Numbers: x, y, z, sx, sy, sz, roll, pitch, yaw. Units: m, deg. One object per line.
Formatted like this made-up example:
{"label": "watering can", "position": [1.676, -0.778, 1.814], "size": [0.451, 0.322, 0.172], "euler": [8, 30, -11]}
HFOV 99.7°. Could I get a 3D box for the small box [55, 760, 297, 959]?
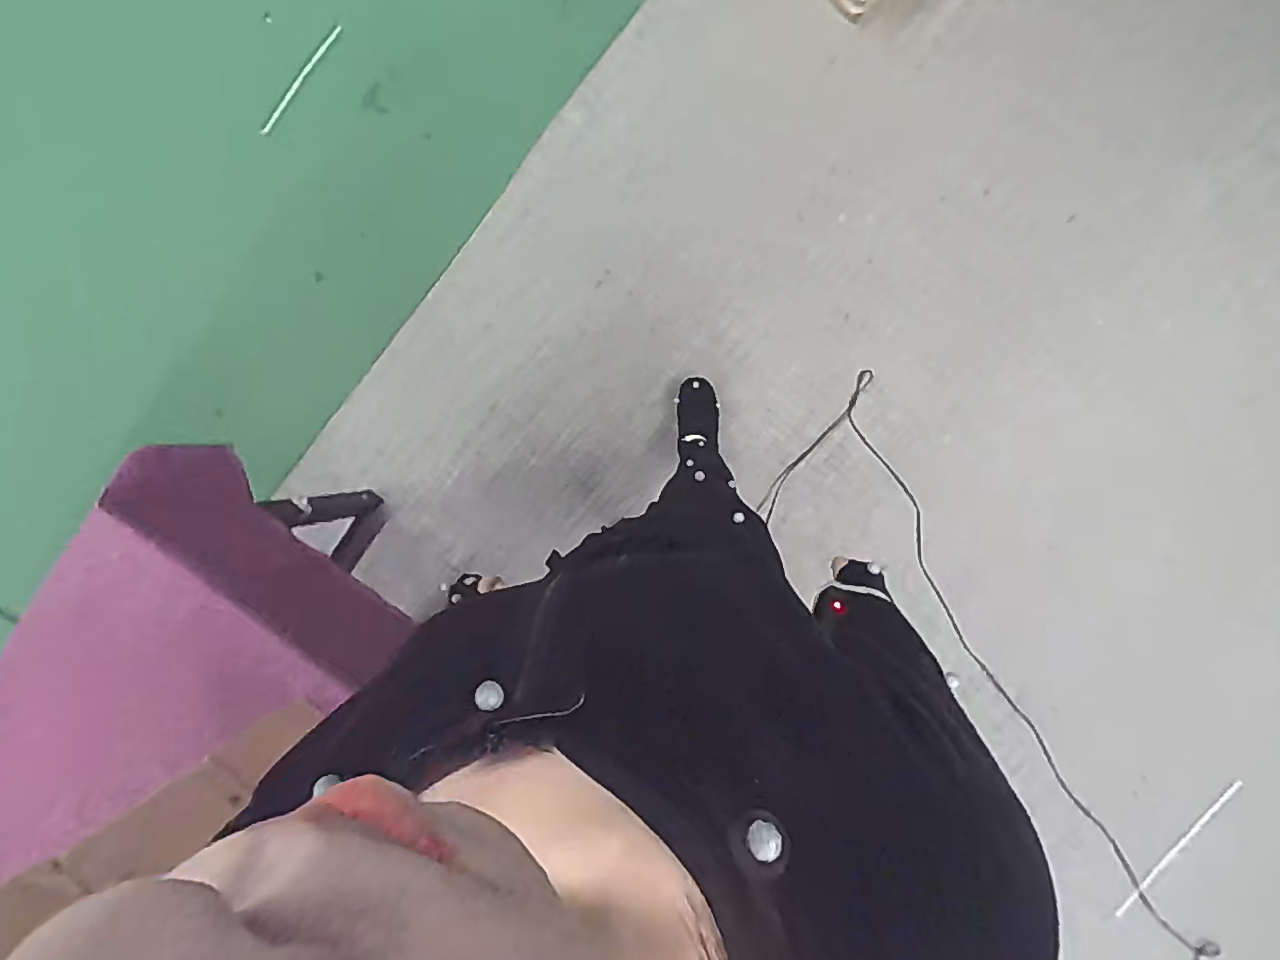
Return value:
{"label": "small box", "position": [-0.513, 0.447, 0.575], "size": [0.168, 0.176, 0.179], "euler": [41, 95, 2]}
